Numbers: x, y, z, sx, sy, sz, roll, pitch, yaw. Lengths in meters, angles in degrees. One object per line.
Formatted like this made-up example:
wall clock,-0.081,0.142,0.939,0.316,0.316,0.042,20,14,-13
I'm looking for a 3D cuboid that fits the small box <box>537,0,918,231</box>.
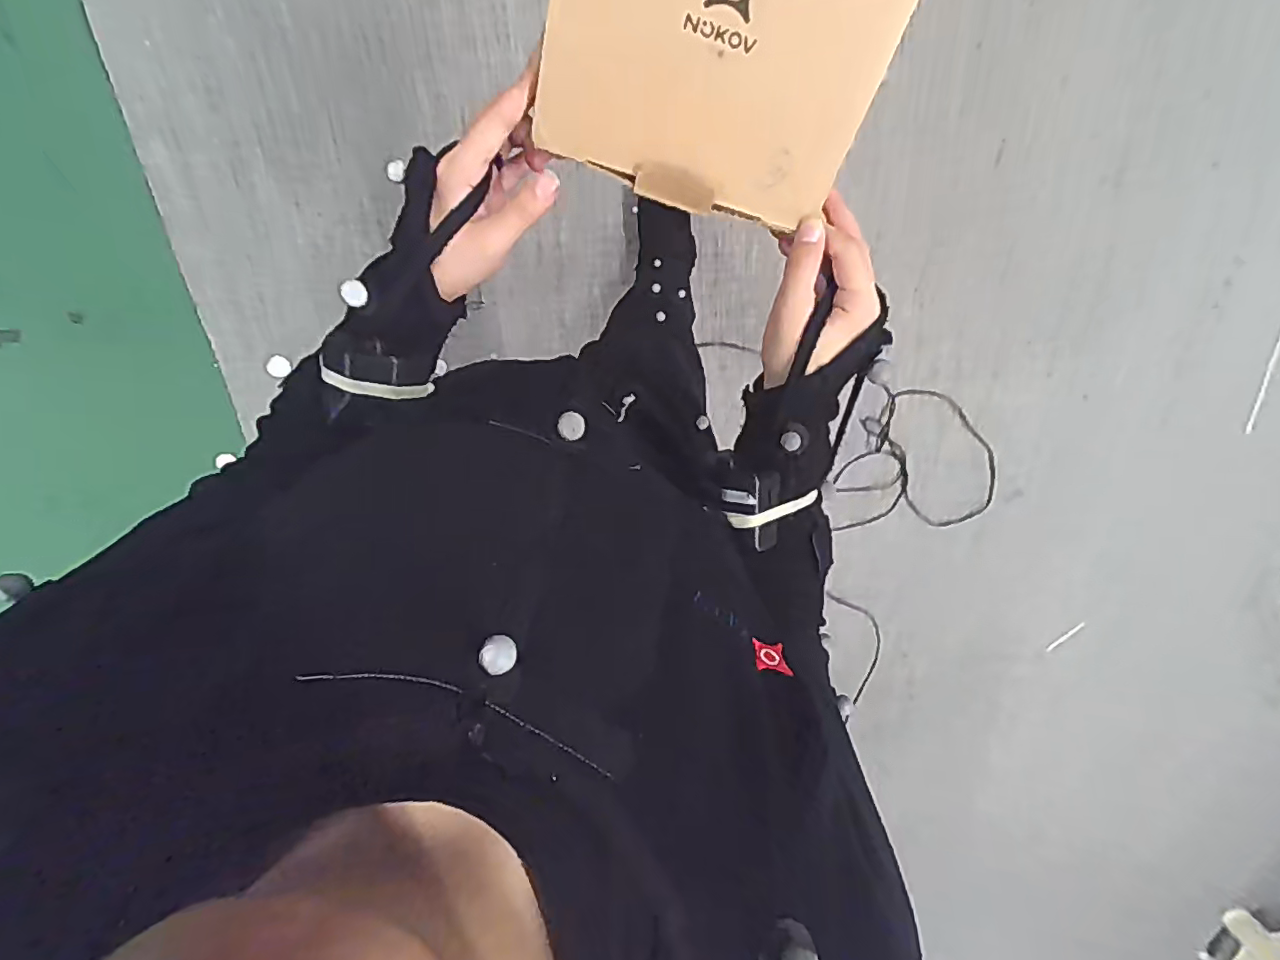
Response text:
small box,0.049,-0.277,0.312,0.168,0.176,0.179,14,128,-8
